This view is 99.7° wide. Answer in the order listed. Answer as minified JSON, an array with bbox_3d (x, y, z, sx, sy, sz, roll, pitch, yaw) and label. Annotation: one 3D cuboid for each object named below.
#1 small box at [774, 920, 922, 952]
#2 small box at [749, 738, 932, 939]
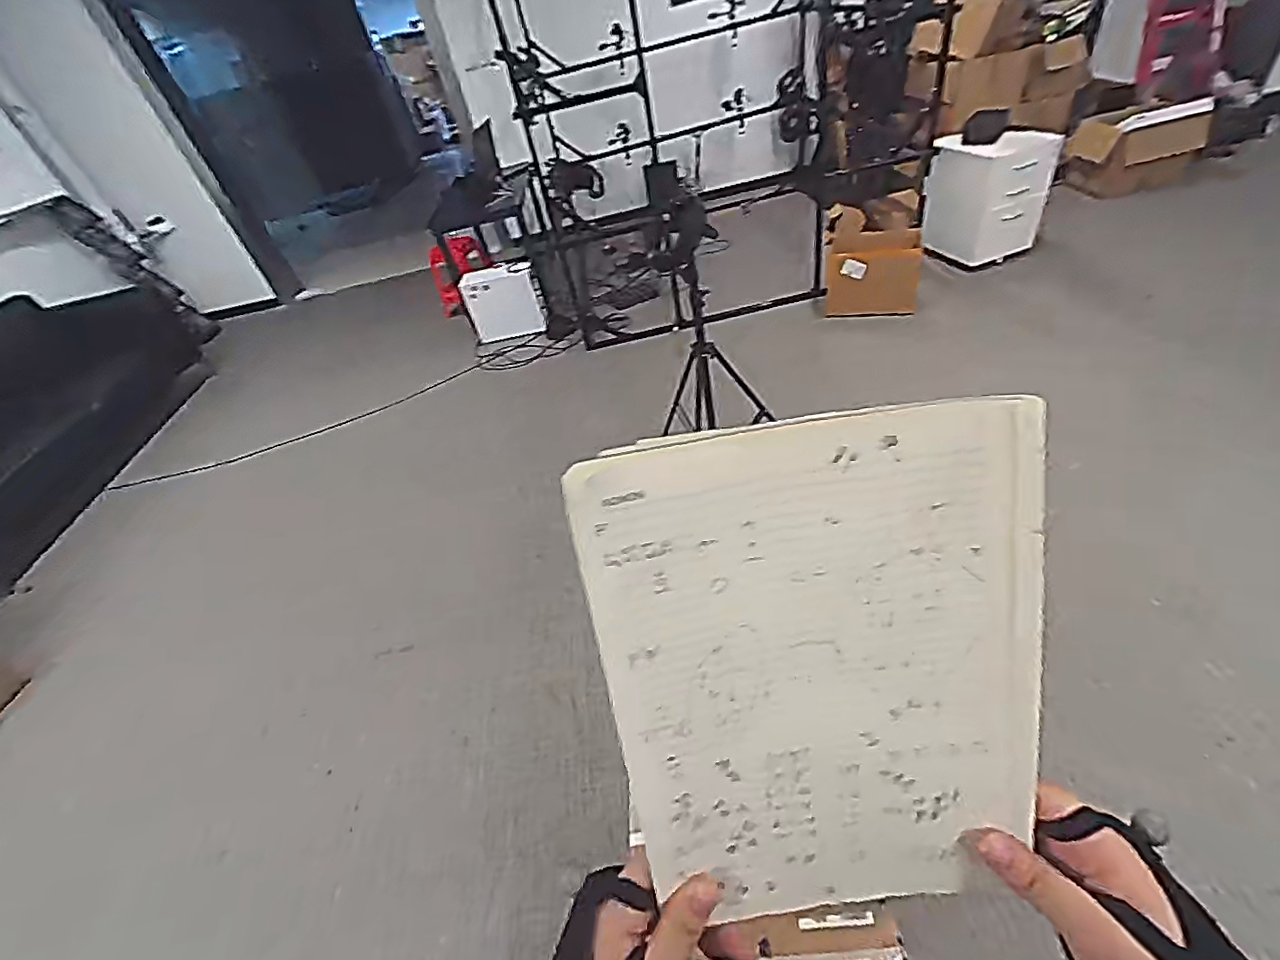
[{"bbox_3d":[0.271,0.559,0.782,0.179,0.176,0.168,-9,42,3],"label":"small box"},{"bbox_3d":[0.228,0.444,0.671,0.168,0.176,0.179,-6,43,6],"label":"small box"}]
